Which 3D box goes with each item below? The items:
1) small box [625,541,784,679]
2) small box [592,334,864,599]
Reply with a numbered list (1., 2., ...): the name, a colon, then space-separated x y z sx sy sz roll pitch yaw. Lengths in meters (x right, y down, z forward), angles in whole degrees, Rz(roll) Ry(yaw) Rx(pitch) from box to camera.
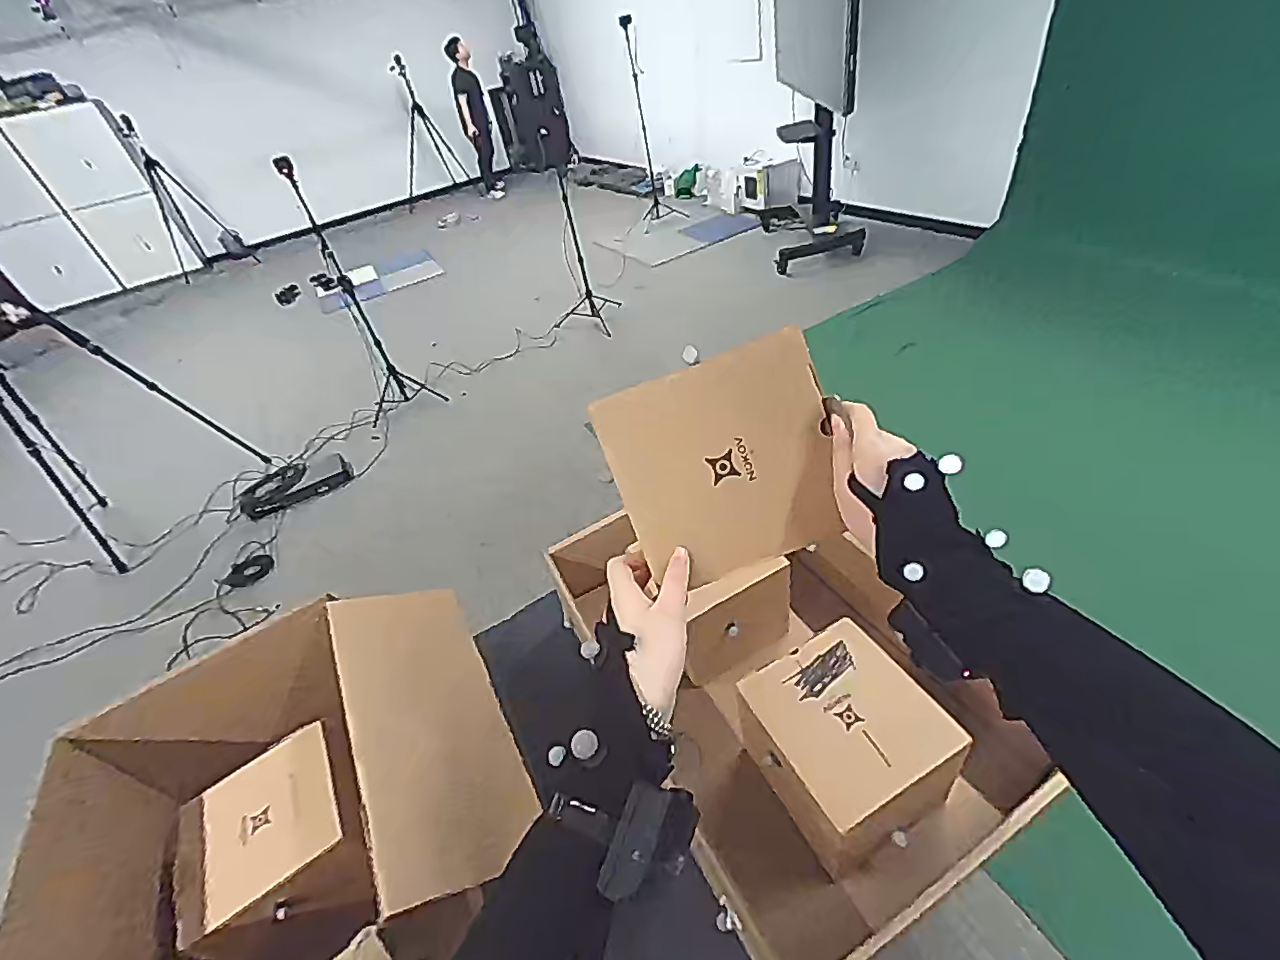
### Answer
1. small box: 0.103 0.167 0.821 0.179 0.176 0.168 -27 44 -14
2. small box: 0.069 -0.014 0.502 0.179 0.168 0.176 -21 5 0
